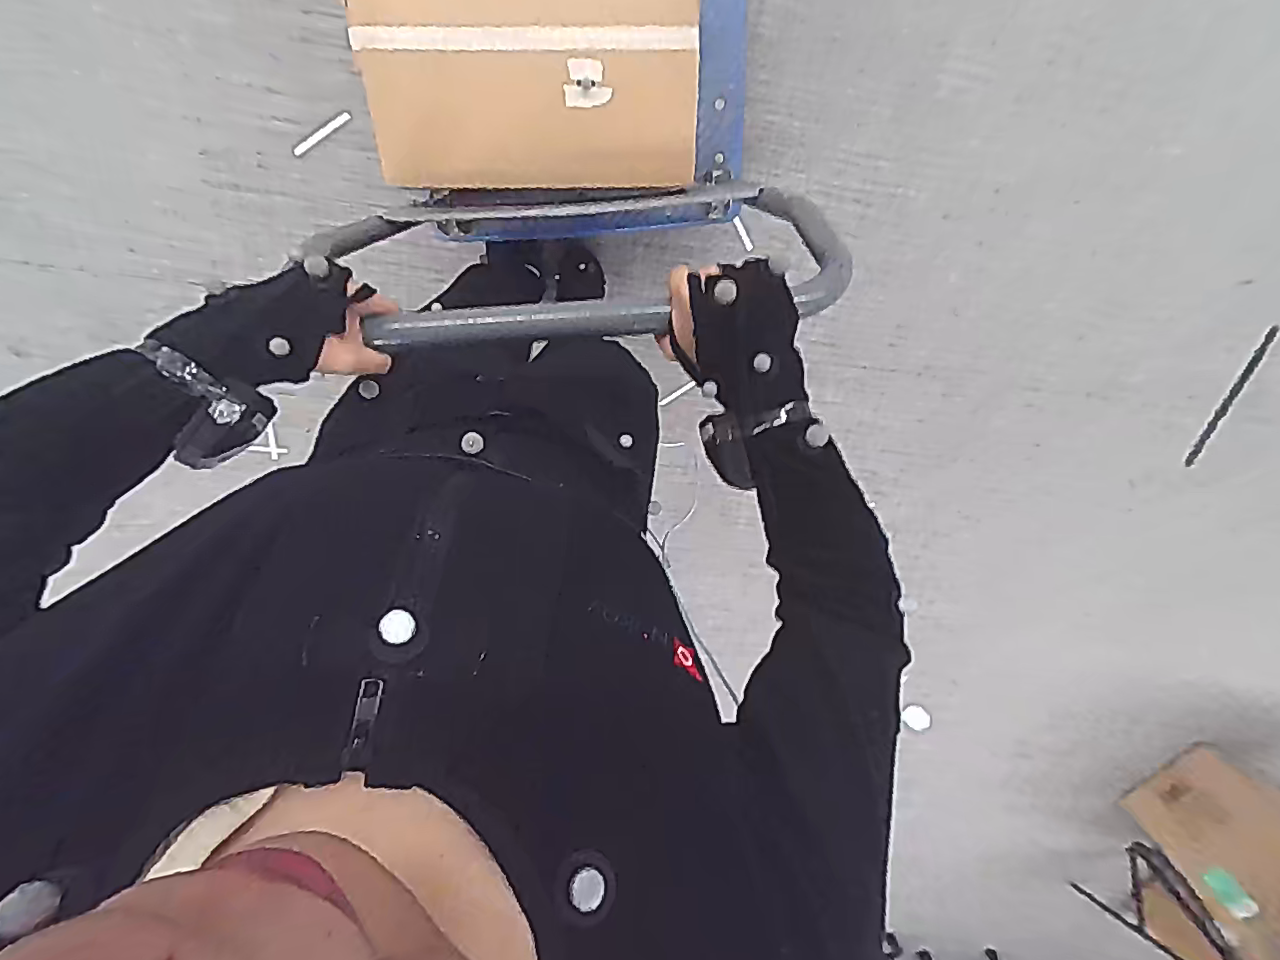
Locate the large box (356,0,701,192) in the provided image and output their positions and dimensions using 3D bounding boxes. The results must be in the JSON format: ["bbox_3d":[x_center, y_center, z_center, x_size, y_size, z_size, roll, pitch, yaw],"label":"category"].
[{"bbox_3d":[-0.136,-0.593,0.771,0.408,0.320,0.320,-2,119,-3],"label":"large box"}]
